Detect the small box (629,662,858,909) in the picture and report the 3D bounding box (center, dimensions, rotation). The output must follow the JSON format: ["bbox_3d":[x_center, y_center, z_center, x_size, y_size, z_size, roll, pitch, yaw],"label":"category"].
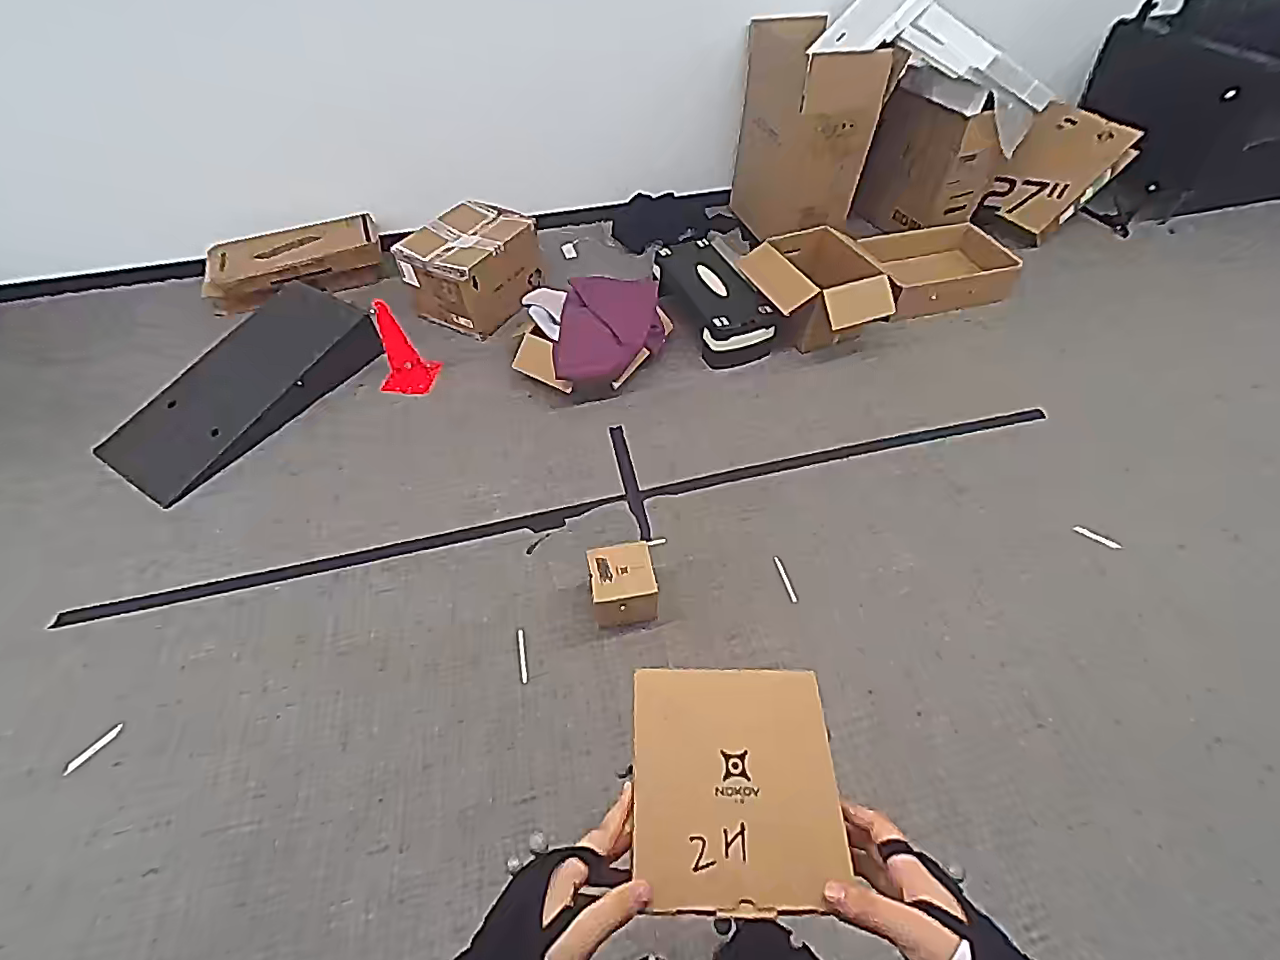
[{"bbox_3d":[0.076,0.285,0.503,0.168,0.176,0.179,1,53,-1],"label":"small box"}]

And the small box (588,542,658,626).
[{"bbox_3d":[-0.047,0.300,1.539,0.179,0.176,0.168,-8,53,-6],"label":"small box"}]
